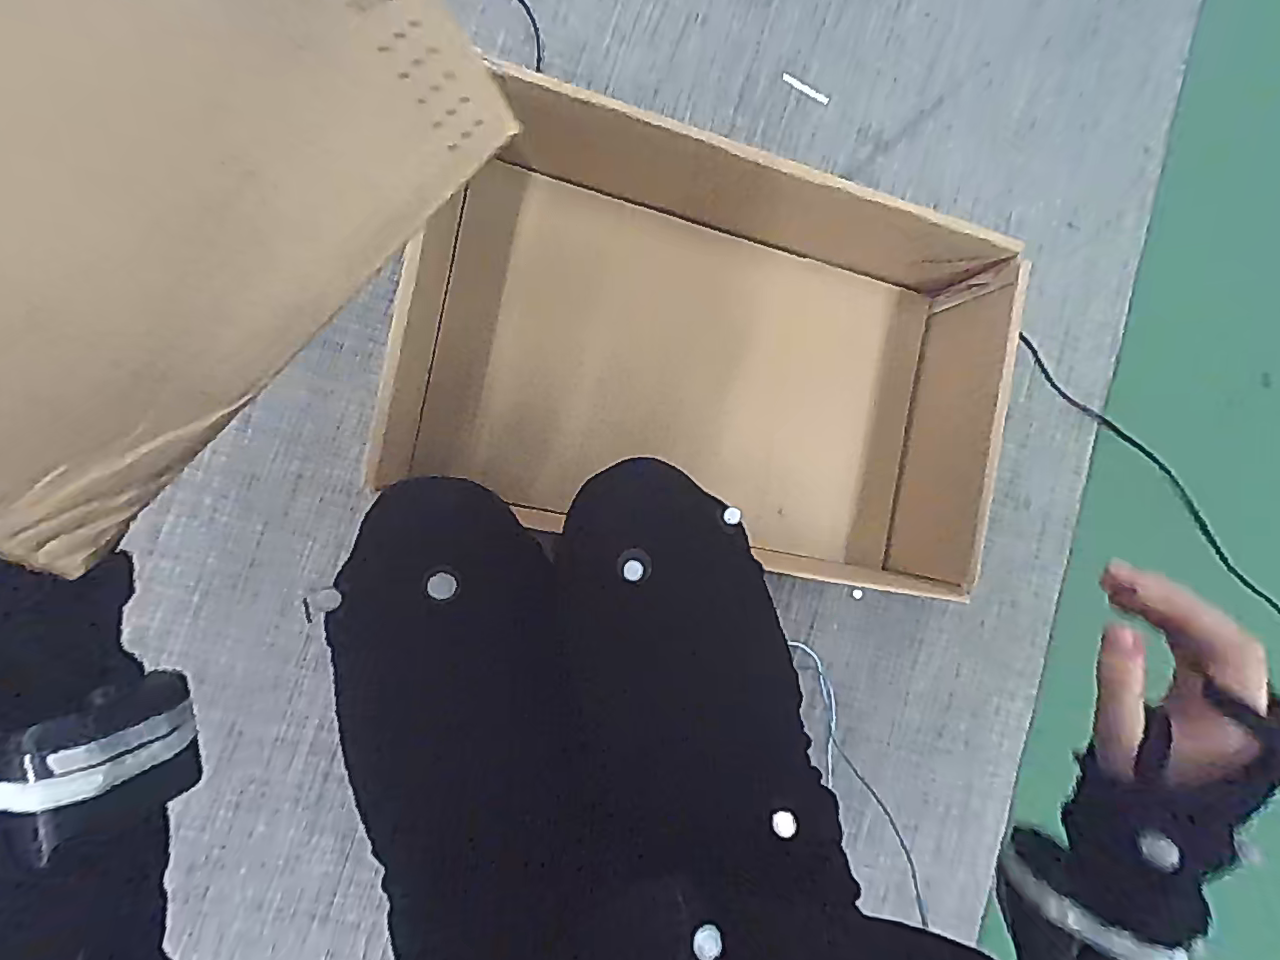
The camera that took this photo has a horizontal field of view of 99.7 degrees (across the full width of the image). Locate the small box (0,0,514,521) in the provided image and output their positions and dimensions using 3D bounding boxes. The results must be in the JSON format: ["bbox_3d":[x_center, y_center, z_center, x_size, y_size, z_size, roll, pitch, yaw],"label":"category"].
[{"bbox_3d":[-0.169,-0.117,0.139,0.176,0.179,0.168,-60,138,-23],"label":"small box"}]
